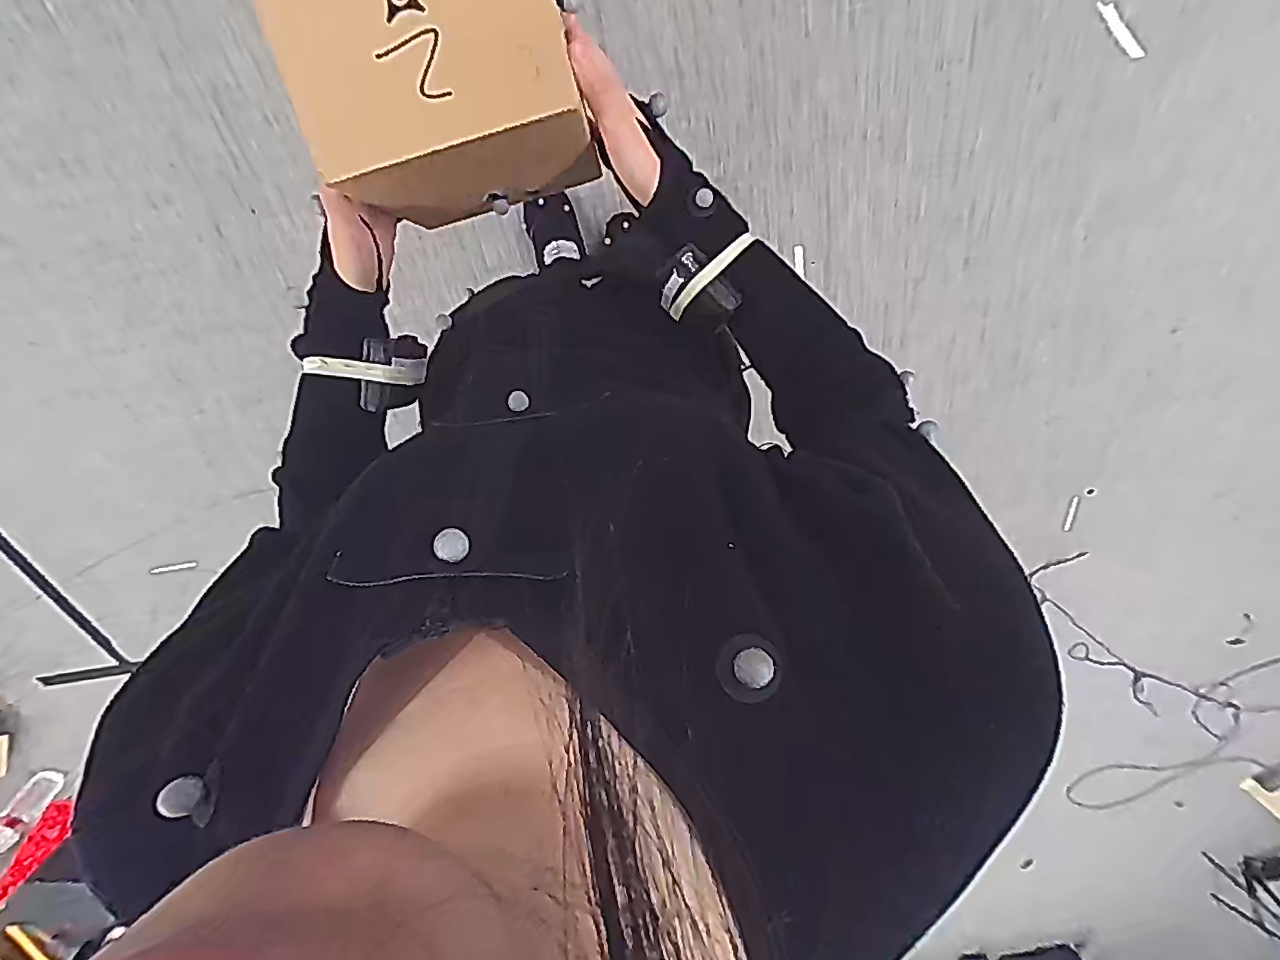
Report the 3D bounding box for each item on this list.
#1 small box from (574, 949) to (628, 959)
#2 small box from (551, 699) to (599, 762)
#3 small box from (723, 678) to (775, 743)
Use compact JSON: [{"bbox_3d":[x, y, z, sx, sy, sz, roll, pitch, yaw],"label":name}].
[{"bbox_3d":[-0.121,1.571,1.648,0.179,0.176,0.168,-9,123,1],"label":"small box"},{"bbox_3d":[-0.258,0.989,2.140,0.179,0.176,0.168,3,120,-8],"label":"small box"},{"bbox_3d":[0.429,0.903,2.138,0.168,0.176,0.179,-9,123,2],"label":"small box"}]
